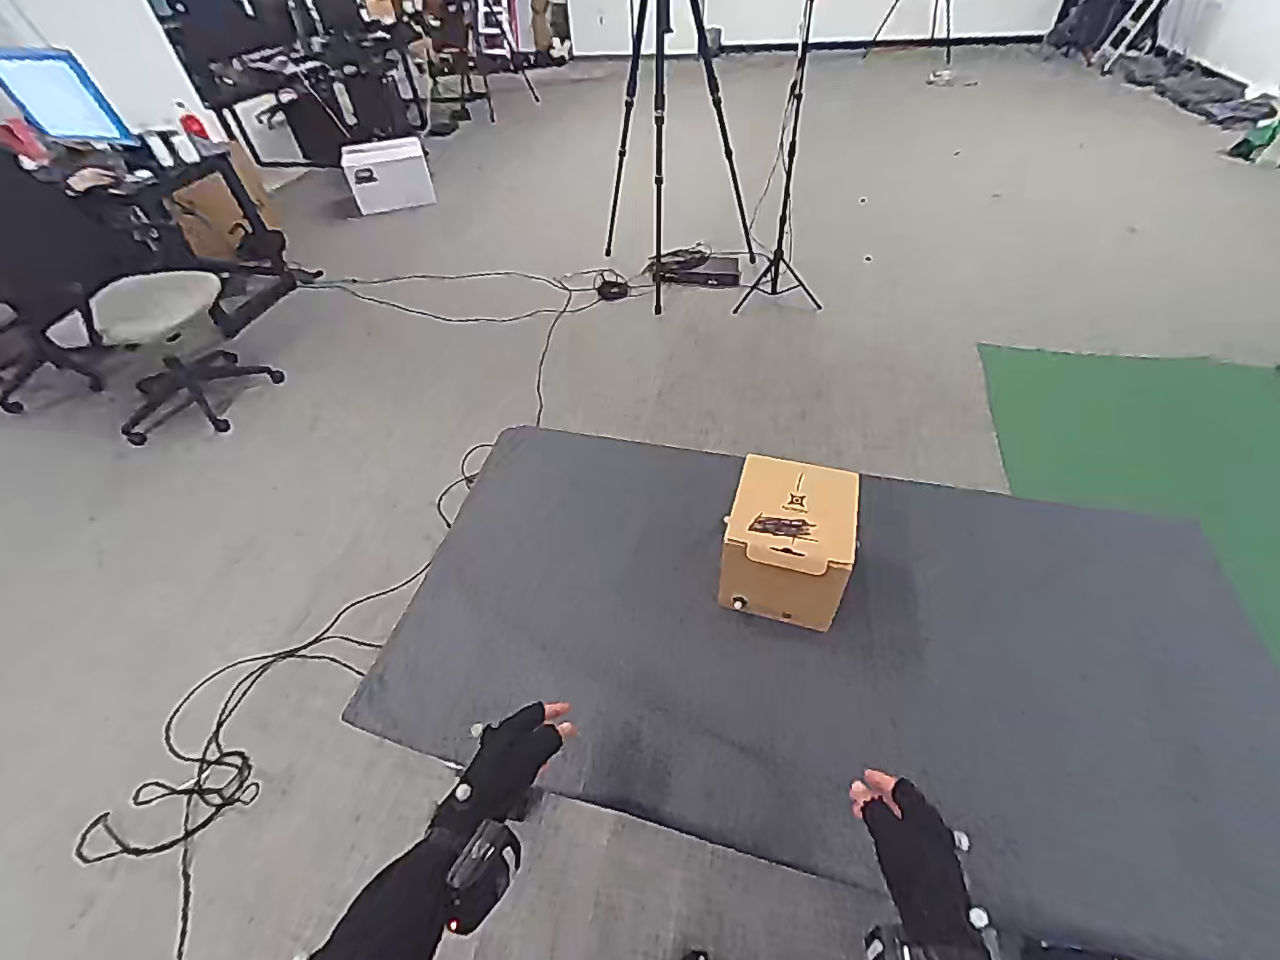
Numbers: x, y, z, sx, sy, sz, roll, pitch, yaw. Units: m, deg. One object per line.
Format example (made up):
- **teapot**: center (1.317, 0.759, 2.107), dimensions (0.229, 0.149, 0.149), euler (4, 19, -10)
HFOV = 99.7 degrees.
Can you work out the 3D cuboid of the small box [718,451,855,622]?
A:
- **small box**: center (0.214, 0.086, 0.809), dimensions (0.168, 0.176, 0.179), euler (12, 48, 14)
